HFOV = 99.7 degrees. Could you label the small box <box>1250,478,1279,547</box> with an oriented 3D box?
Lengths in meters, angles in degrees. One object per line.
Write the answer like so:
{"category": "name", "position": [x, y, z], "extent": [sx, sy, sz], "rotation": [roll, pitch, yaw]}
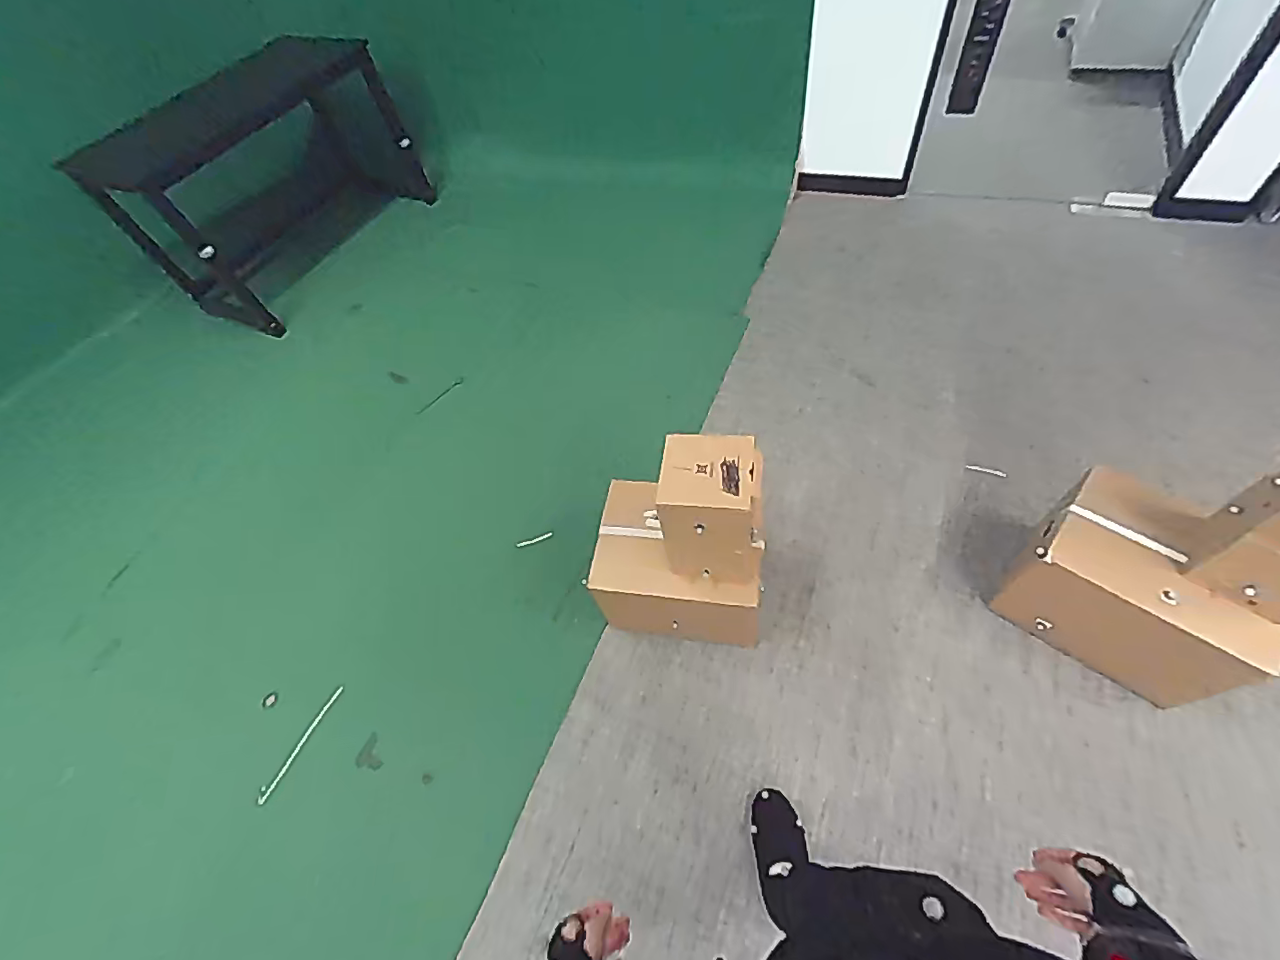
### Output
{"category": "small box", "position": [1.191, 0.045, 0.885], "extent": [0.179, 0.176, 0.168], "rotation": [36, 67, 29]}

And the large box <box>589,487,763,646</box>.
{"category": "large box", "position": [0.121, 0.233, 1.441], "extent": [0.408, 0.320, 0.320], "rotation": [3, 56, 13]}

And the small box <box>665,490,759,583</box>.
{"category": "small box", "position": [0.164, 0.118, 1.212], "extent": [0.179, 0.176, 0.168], "rotation": [8, 58, 14]}

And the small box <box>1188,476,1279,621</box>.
{"category": "small box", "position": [1.206, 0.132, 1.021], "extent": [0.168, 0.176, 0.179], "rotation": [35, 67, 28]}

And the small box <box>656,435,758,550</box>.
{"category": "small box", "position": [0.139, 0.029, 1.076], "extent": [0.179, 0.176, 0.168], "rotation": [3, 57, 14]}
